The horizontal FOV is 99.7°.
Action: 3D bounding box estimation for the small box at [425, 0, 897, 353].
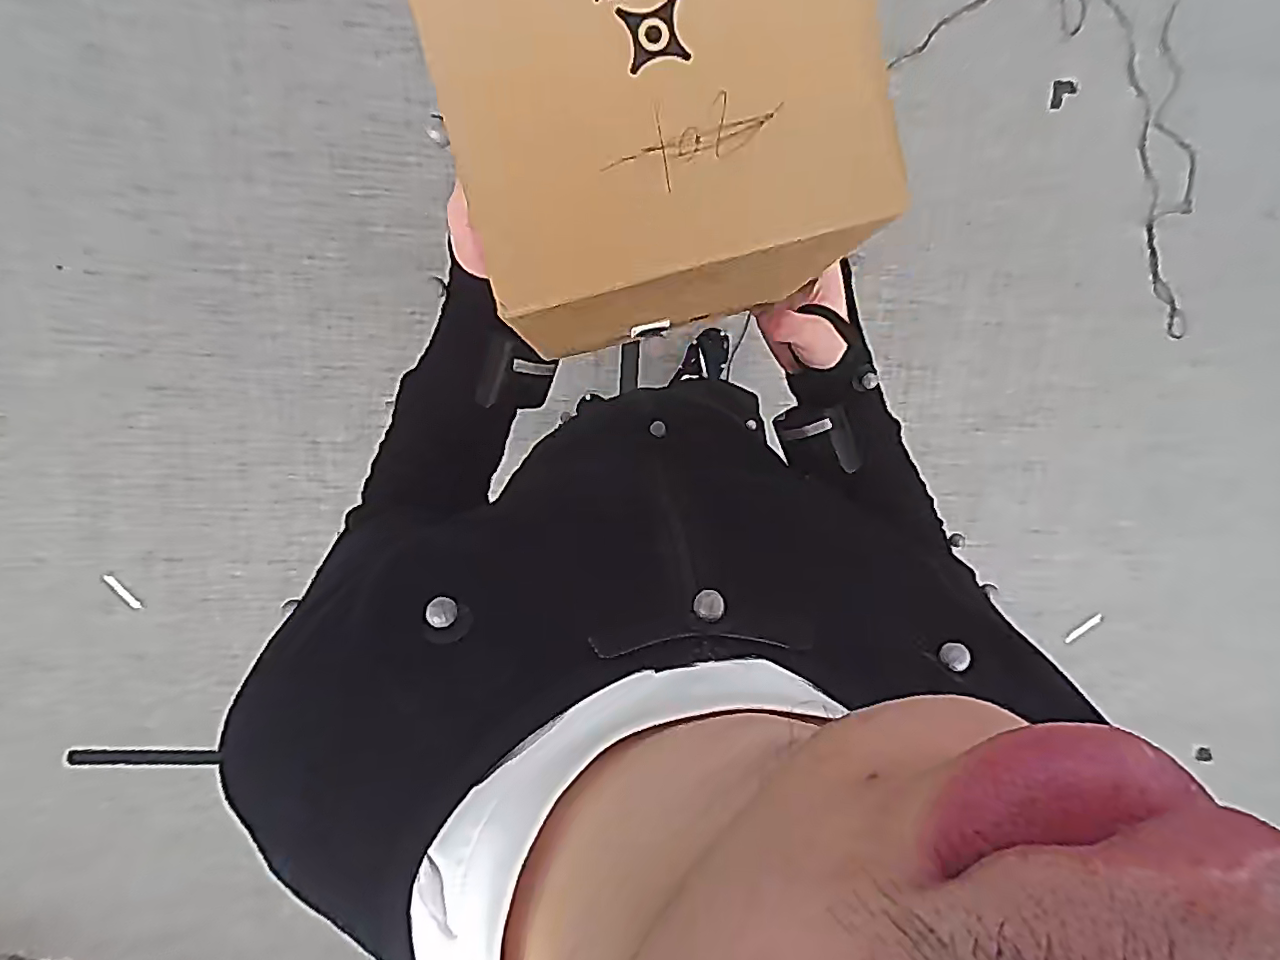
[{"bbox_3d":[0.001,-0.181,0.288,0.168,0.176,0.179,-16,97,0],"label":"small box"}]
